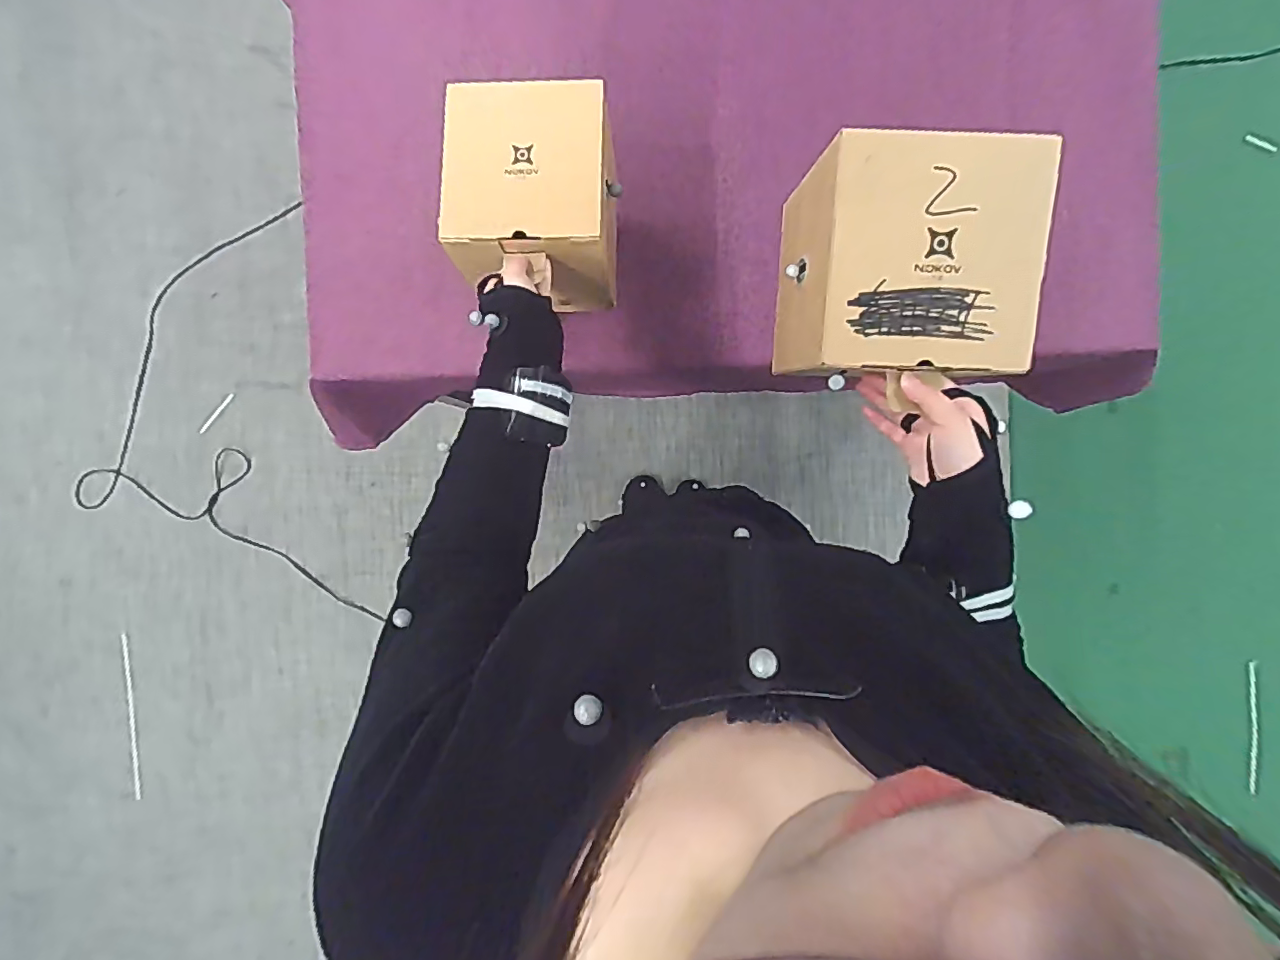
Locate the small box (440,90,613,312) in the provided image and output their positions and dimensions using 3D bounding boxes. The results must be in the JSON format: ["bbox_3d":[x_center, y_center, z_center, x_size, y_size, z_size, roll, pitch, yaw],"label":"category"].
[{"bbox_3d":[-0.122,-0.320,0.646,0.168,0.176,0.179,0,84,2],"label":"small box"}]
